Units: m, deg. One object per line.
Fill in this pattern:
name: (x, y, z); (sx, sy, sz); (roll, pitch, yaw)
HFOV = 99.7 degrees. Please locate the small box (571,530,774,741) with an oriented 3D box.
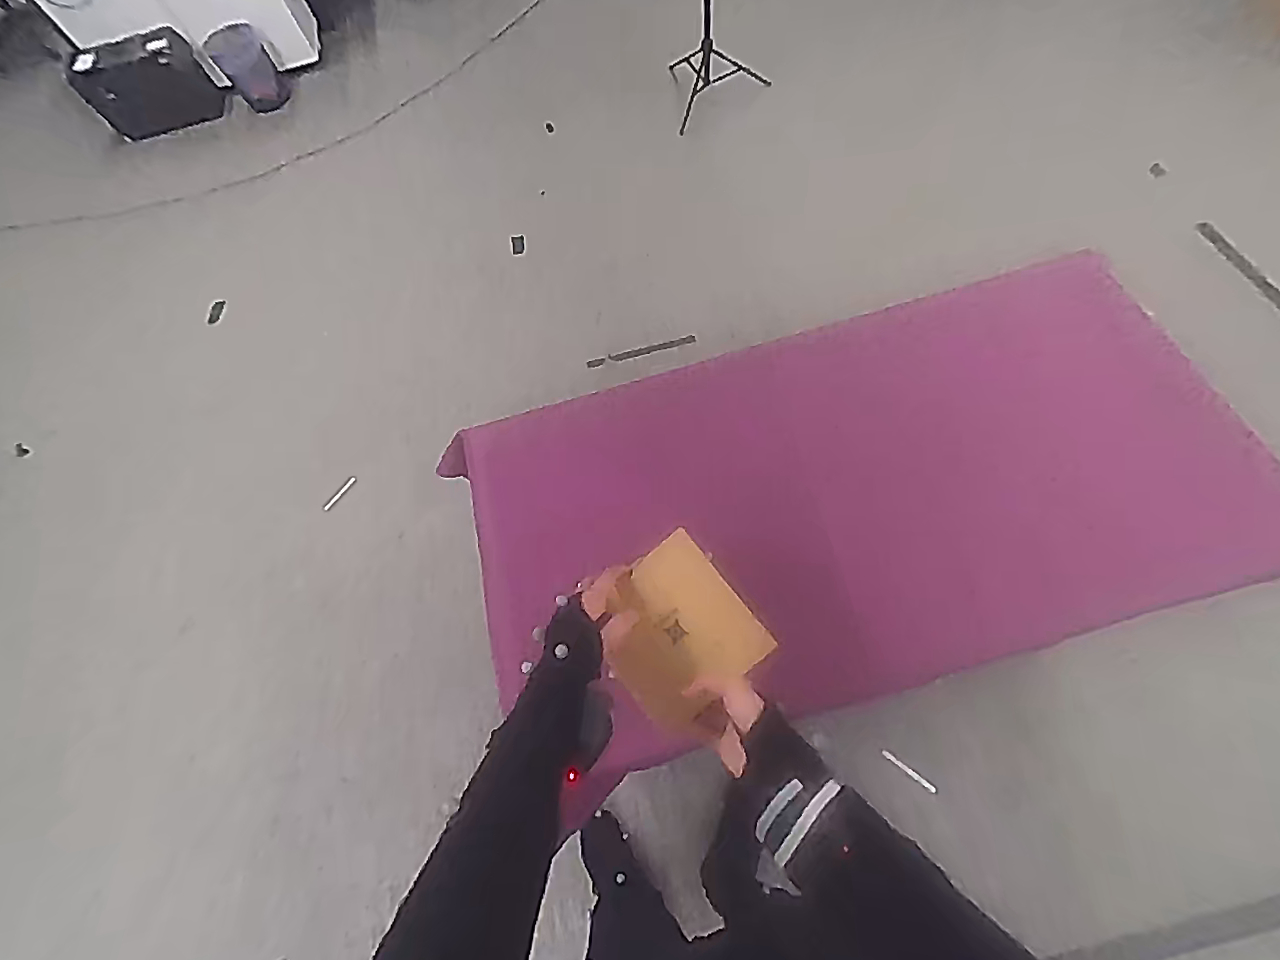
small box: (0.040, 0.191, 0.686); (0.168, 0.176, 0.179); (-38, 76, -4)
